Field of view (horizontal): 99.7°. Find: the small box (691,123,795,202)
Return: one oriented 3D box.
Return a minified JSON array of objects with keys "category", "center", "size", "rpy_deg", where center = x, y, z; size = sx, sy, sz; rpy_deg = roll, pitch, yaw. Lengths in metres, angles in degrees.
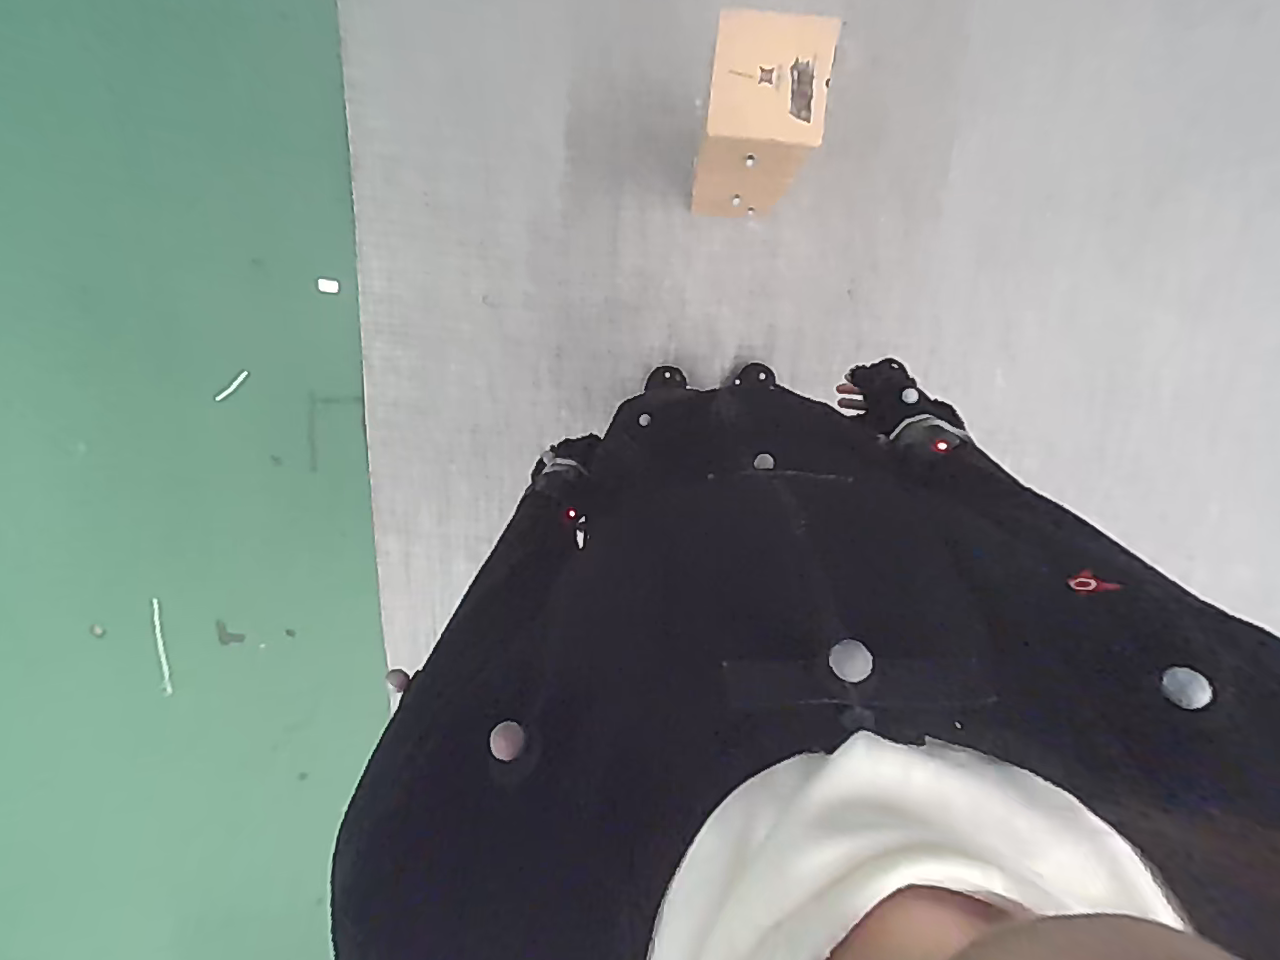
[{"category":"small box","center":[0.200,-0.643,1.027],"size":[0.179,0.176,0.168],"rpy_deg":[8,104,-1]}]

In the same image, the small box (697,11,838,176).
[{"category":"small box","center":[0.192,-0.604,0.867],"size":[0.179,0.176,0.168],"rpy_deg":[3,104,-1]}]

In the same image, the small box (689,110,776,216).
[{"category":"small box","center":[0.205,-0.689,1.184],"size":[0.179,0.176,0.168],"rpy_deg":[4,104,2]}]
